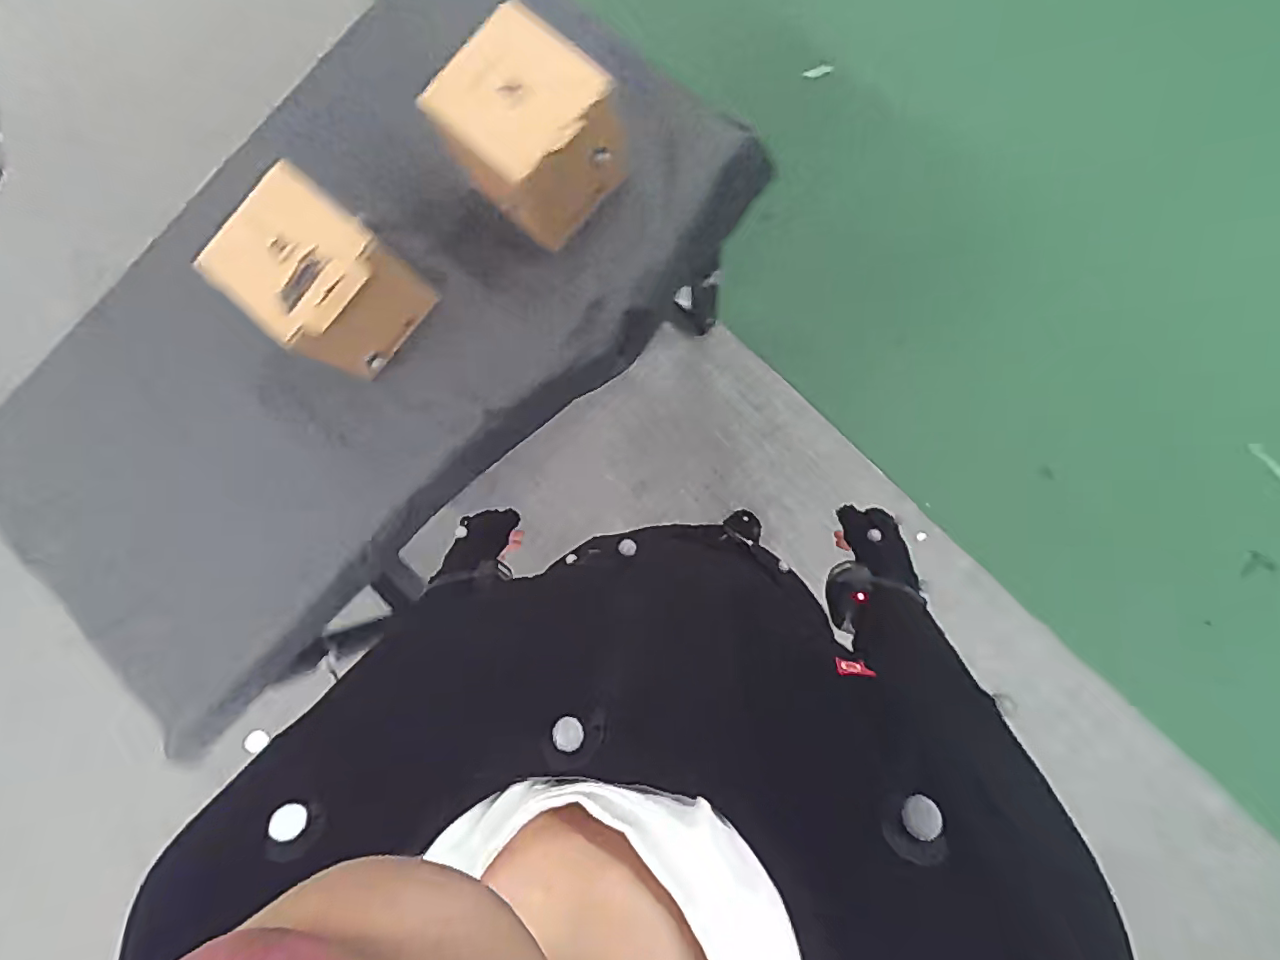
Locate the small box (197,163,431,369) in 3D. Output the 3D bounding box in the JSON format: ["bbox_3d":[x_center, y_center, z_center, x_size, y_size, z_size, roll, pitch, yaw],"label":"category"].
[{"bbox_3d":[-0.426,-0.272,0.737,0.179,0.176,0.168,40,91,8],"label":"small box"}]

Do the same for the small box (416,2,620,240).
[{"bbox_3d":[-0.147,-0.456,0.721,0.179,0.176,0.168,42,90,9],"label":"small box"}]
